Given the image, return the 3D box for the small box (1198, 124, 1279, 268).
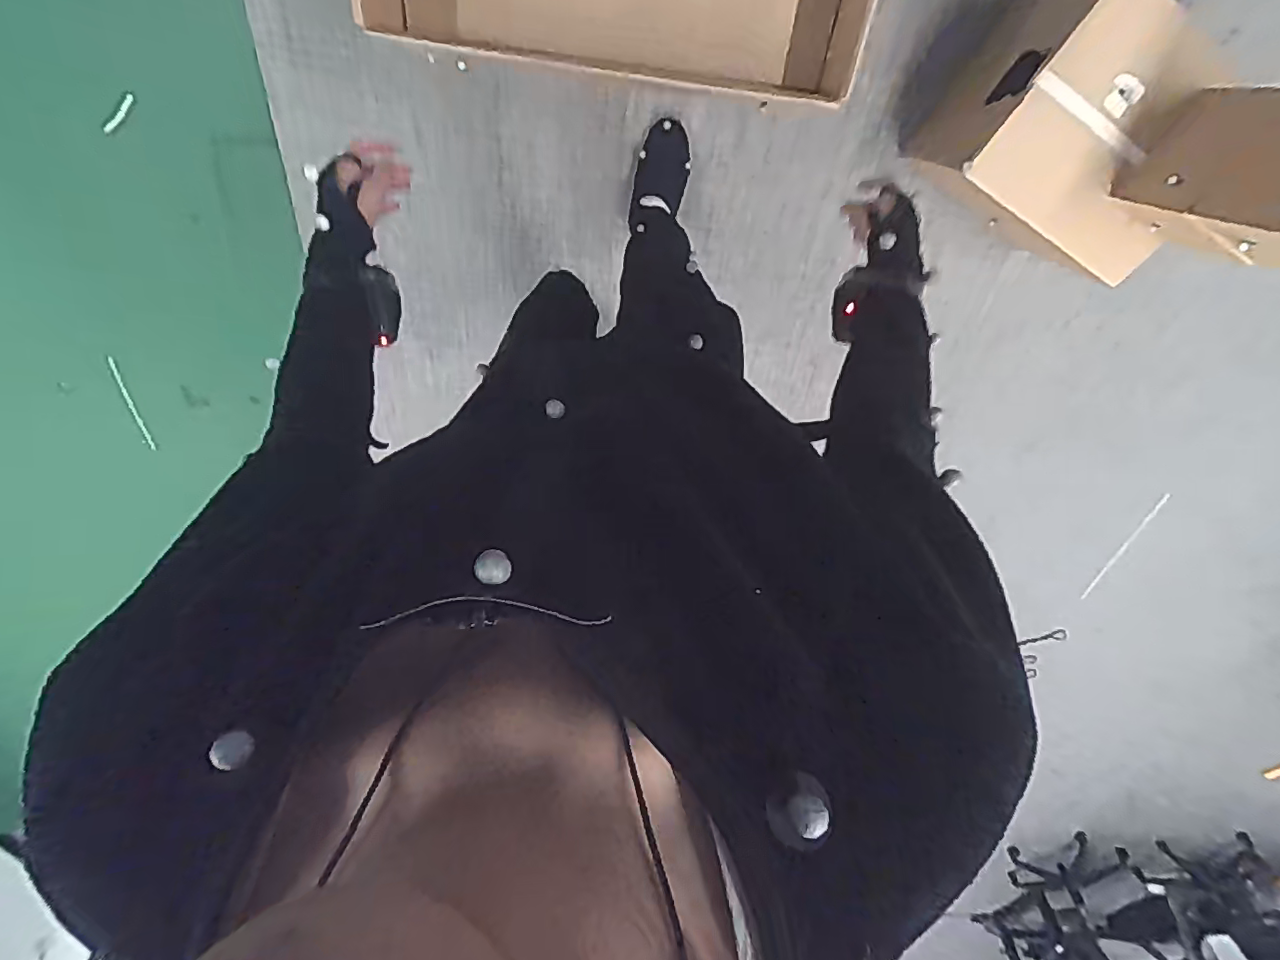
[{"bbox_3d":[0.916,-0.380,0.702,0.168,0.176,0.179,22,124,-12],"label":"small box"}]
